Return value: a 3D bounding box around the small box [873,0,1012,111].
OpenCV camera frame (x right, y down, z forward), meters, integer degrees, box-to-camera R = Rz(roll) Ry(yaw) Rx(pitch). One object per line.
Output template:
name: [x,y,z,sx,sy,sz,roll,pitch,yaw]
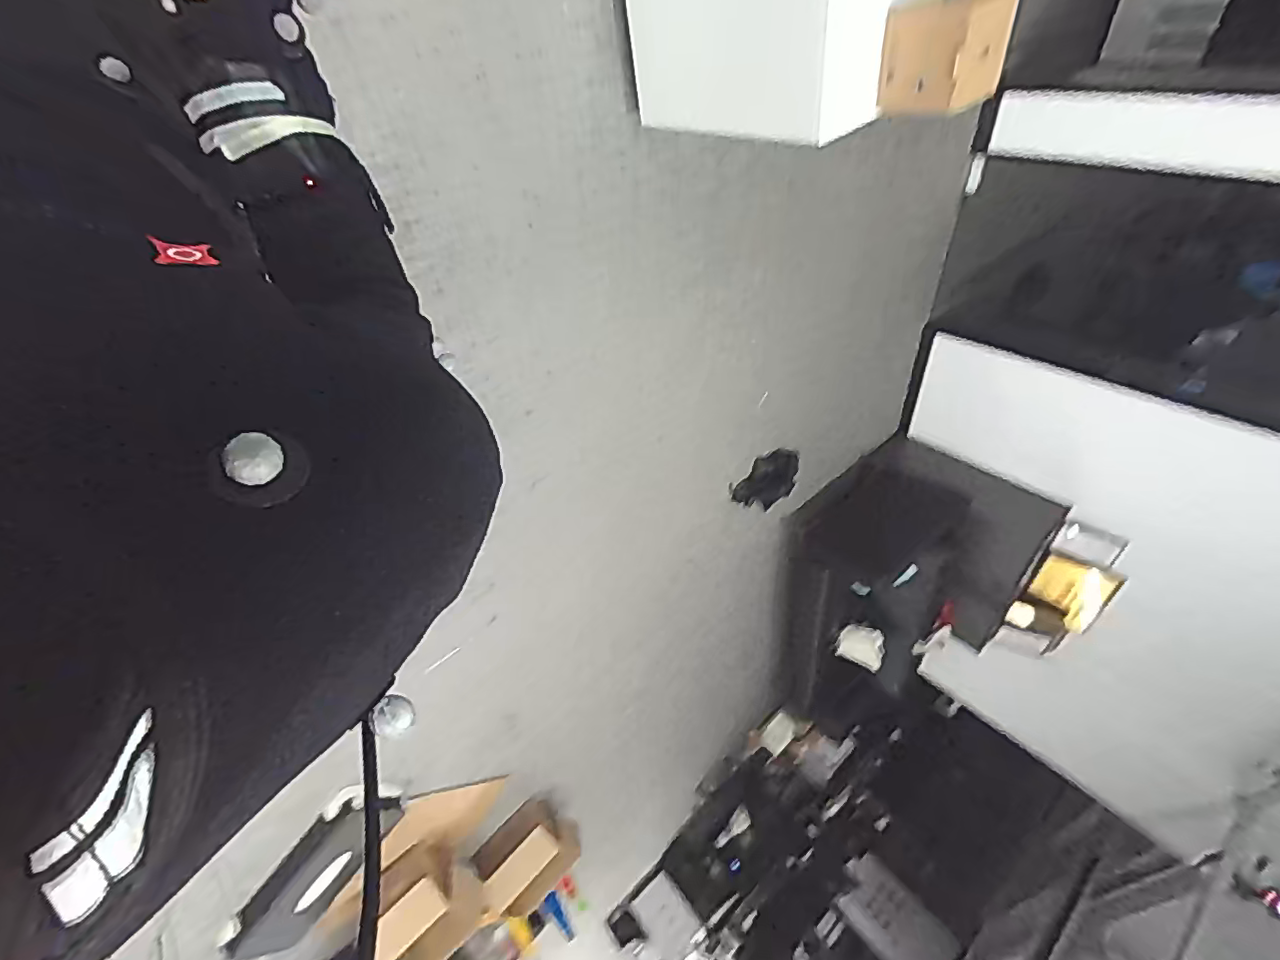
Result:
small box: [0.592,-0.853,1.072,0.179,0.176,0.168,-36,140,-23]
